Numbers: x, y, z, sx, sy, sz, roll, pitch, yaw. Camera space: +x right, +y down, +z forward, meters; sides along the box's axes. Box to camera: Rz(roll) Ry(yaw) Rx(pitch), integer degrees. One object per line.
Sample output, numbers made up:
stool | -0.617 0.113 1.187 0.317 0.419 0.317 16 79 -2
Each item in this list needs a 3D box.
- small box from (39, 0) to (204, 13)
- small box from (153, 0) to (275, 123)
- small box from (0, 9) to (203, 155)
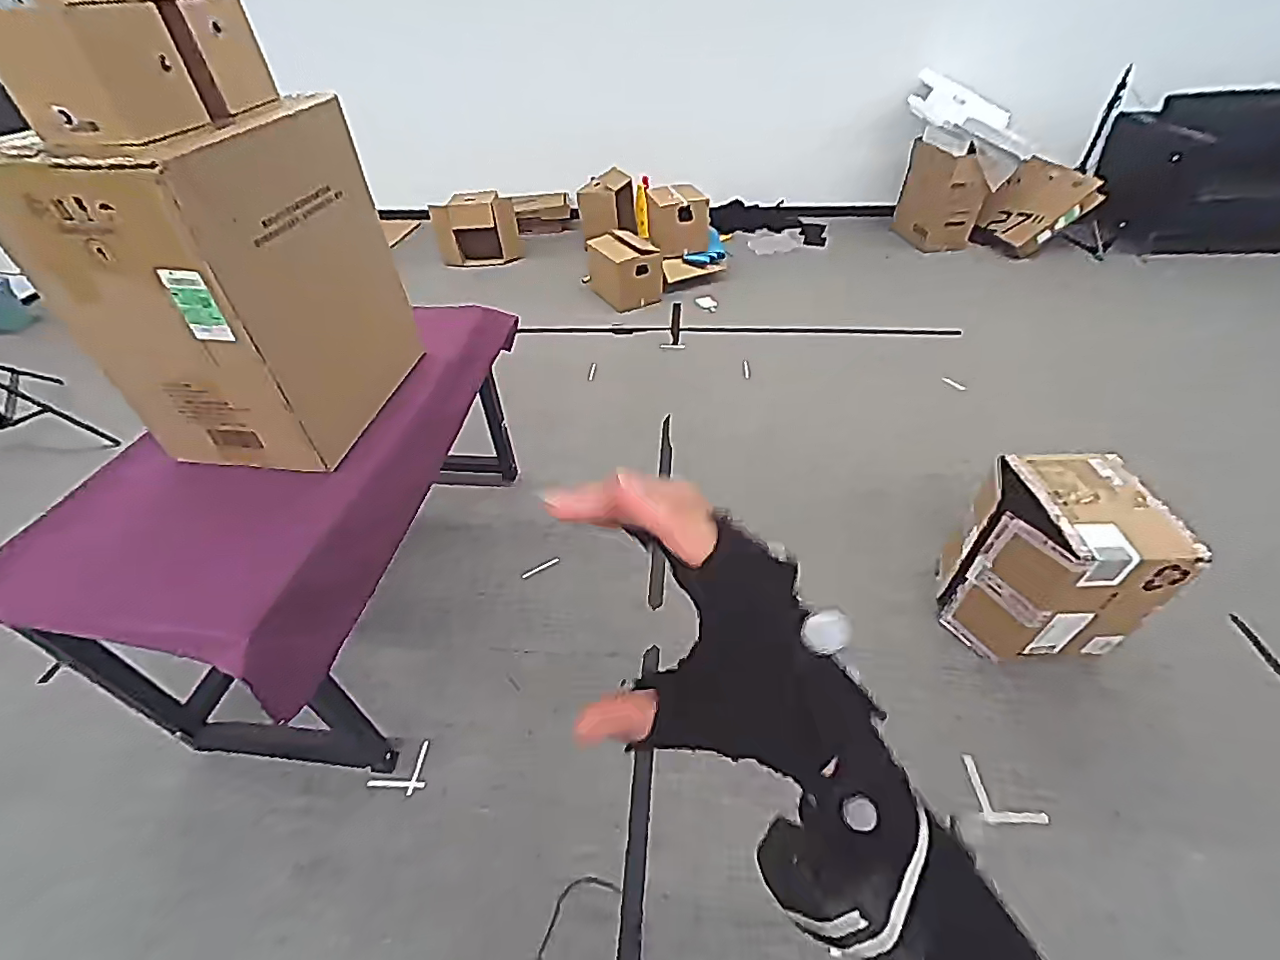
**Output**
small box | -0.856 -0.844 0.845 0.179 0.176 0.168 6 45 11
small box | -0.840 -0.786 1.020 0.168 0.176 0.179 1 44 4
small box | -0.853 -0.631 0.859 0.168 0.176 0.179 0 43 4
